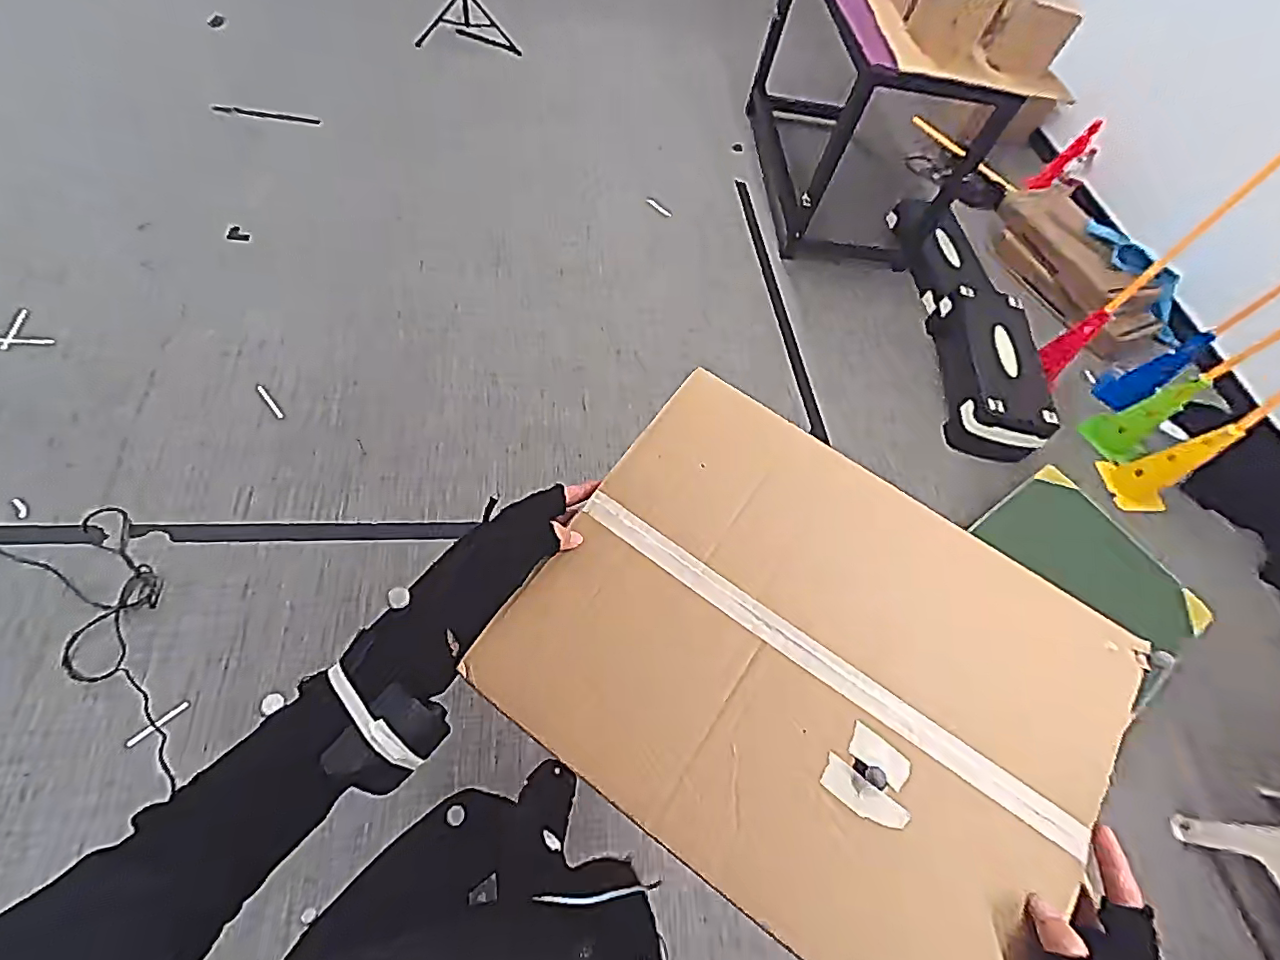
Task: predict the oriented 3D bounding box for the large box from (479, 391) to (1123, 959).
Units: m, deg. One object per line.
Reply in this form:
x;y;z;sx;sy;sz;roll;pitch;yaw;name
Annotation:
0.120;0.191;0.542;0.408;0.320;0.320;35;71;11;large box
